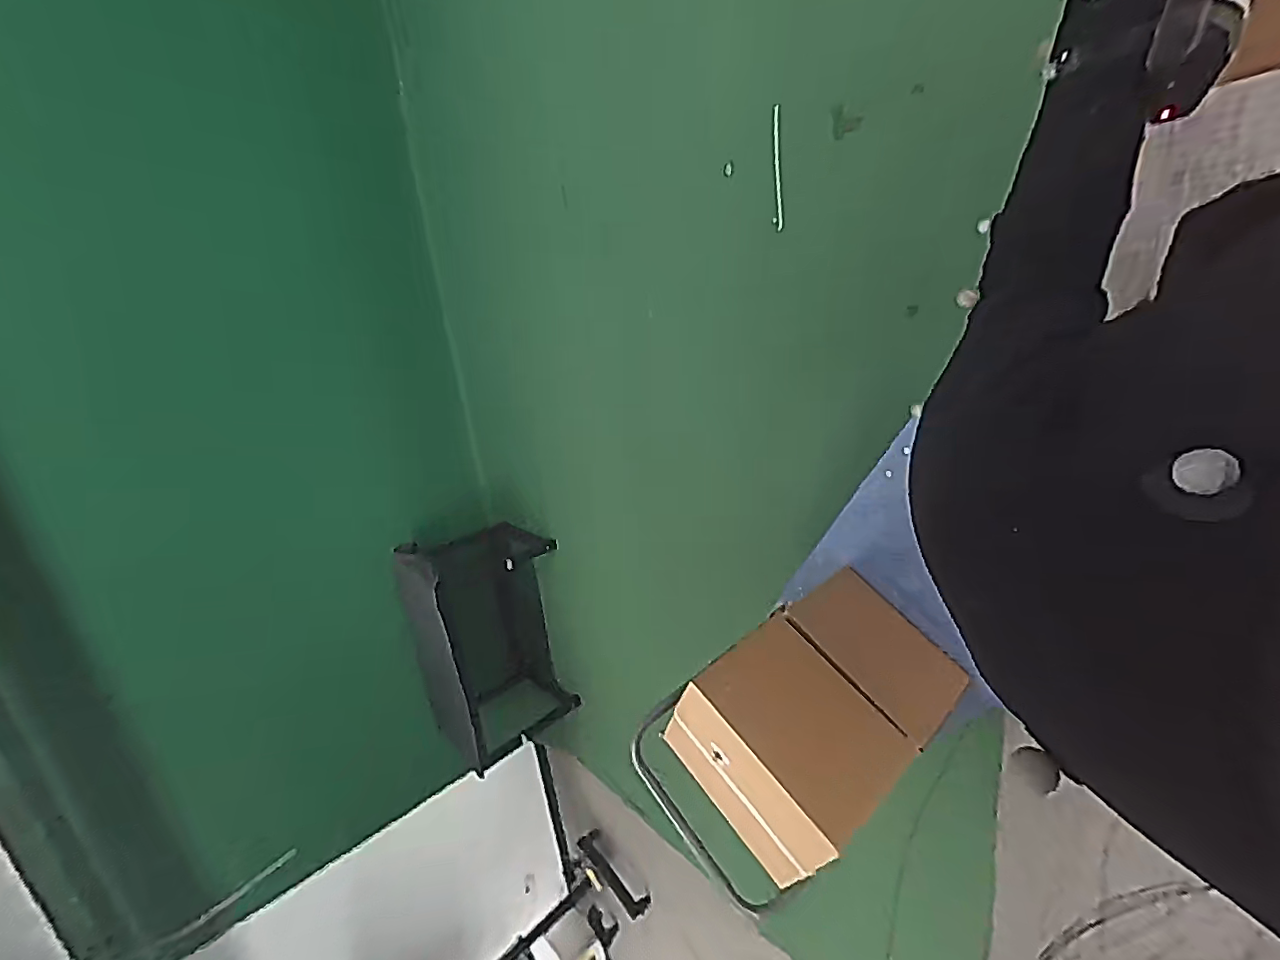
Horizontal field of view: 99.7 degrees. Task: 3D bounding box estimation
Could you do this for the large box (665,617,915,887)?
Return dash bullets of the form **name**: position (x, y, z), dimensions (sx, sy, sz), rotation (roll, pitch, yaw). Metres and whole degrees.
- **large box**: position (0.324, 0.608, 1.250), dimensions (0.408, 0.320, 0.320), rotation (44, 140, 30)
